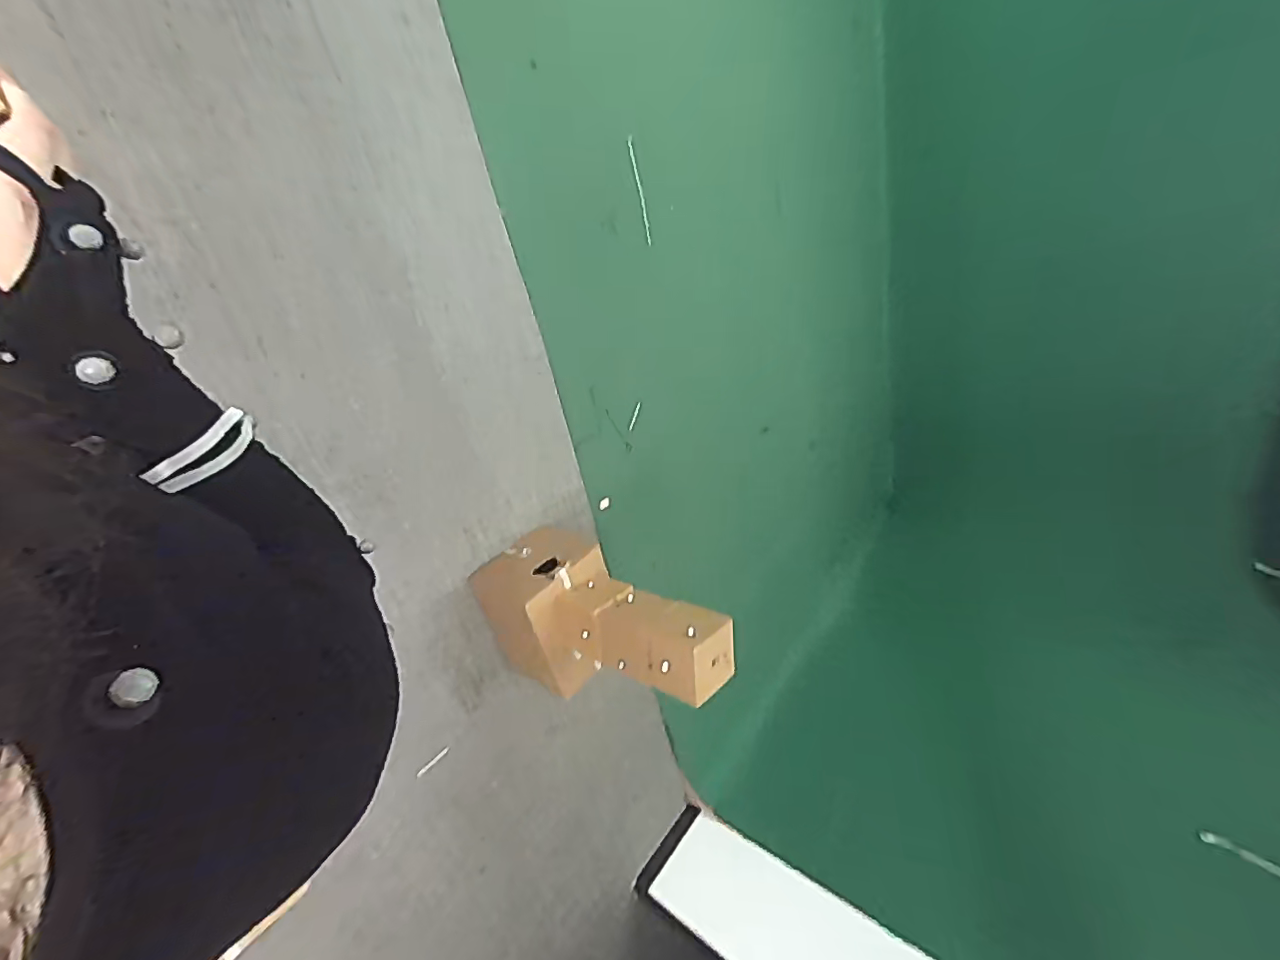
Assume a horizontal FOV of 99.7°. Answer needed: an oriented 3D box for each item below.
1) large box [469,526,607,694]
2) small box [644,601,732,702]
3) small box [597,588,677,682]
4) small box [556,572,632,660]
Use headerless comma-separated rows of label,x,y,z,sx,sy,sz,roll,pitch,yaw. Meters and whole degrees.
large box,-0.302,0.419,1.809,0.320,0.320,0.408,-37,124,-37
small box,0.123,0.444,1.427,0.179,0.176,0.168,-20,112,-46
small box,-0.004,0.430,1.531,0.168,0.176,0.179,-21,112,-46
small box,-0.130,0.403,1.631,0.168,0.176,0.179,-25,115,-43
